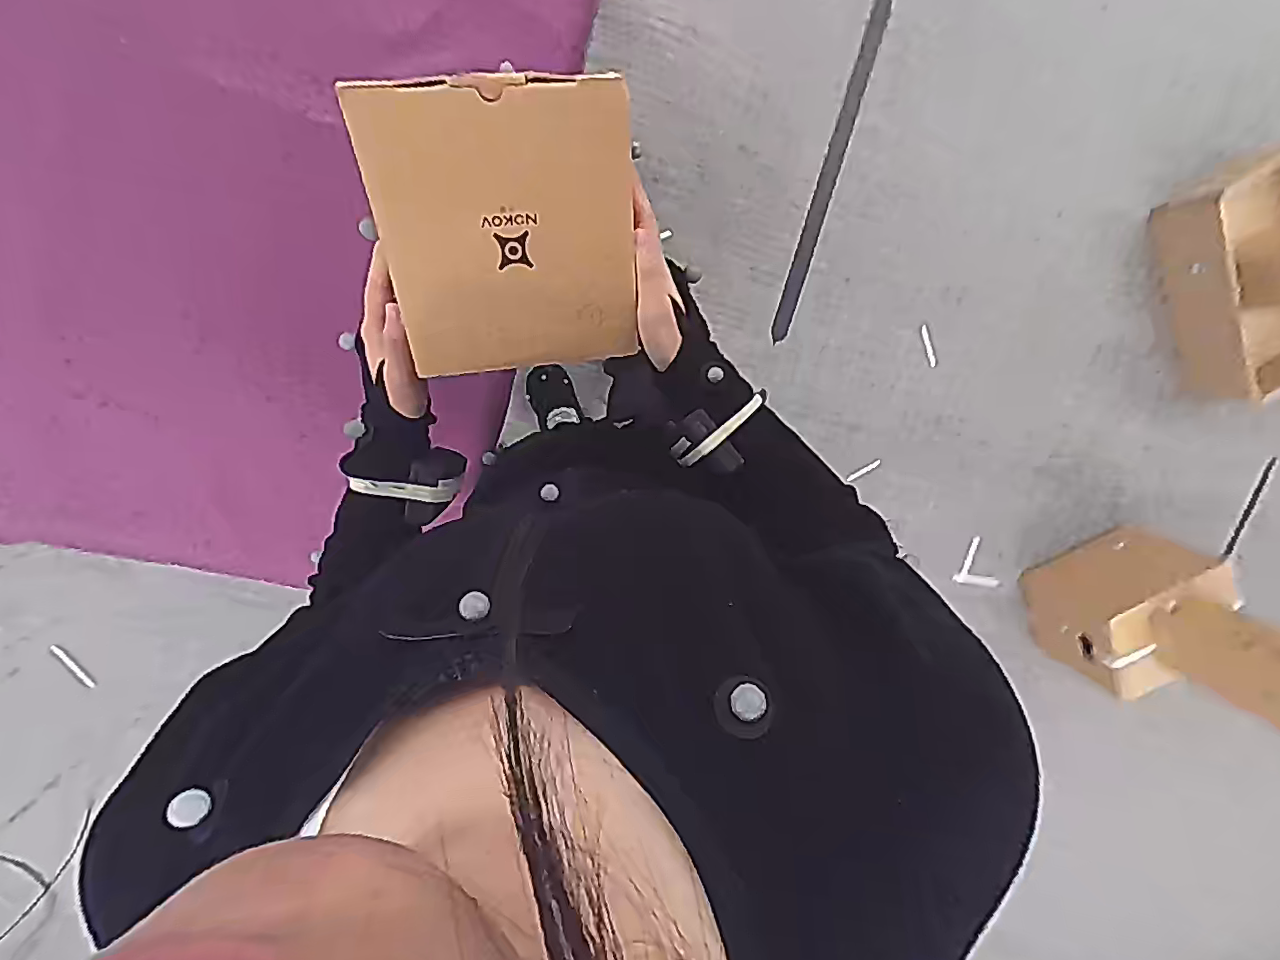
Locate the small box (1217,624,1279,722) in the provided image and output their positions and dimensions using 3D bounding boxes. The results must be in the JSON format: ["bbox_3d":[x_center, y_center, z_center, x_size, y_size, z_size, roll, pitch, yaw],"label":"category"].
[{"bbox_3d":[1.571,0.476,1.316,0.168,0.176,0.179,-26,106,0],"label":"small box"}]

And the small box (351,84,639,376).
[{"bbox_3d":[-0.096,-0.201,0.426,0.168,0.176,0.179,-8,125,-9],"label":"small box"}]

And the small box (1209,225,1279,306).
[{"bbox_3d":[1.766,-0.605,1.510,0.179,0.176,0.168,-30,107,1],"label":"small box"}]
